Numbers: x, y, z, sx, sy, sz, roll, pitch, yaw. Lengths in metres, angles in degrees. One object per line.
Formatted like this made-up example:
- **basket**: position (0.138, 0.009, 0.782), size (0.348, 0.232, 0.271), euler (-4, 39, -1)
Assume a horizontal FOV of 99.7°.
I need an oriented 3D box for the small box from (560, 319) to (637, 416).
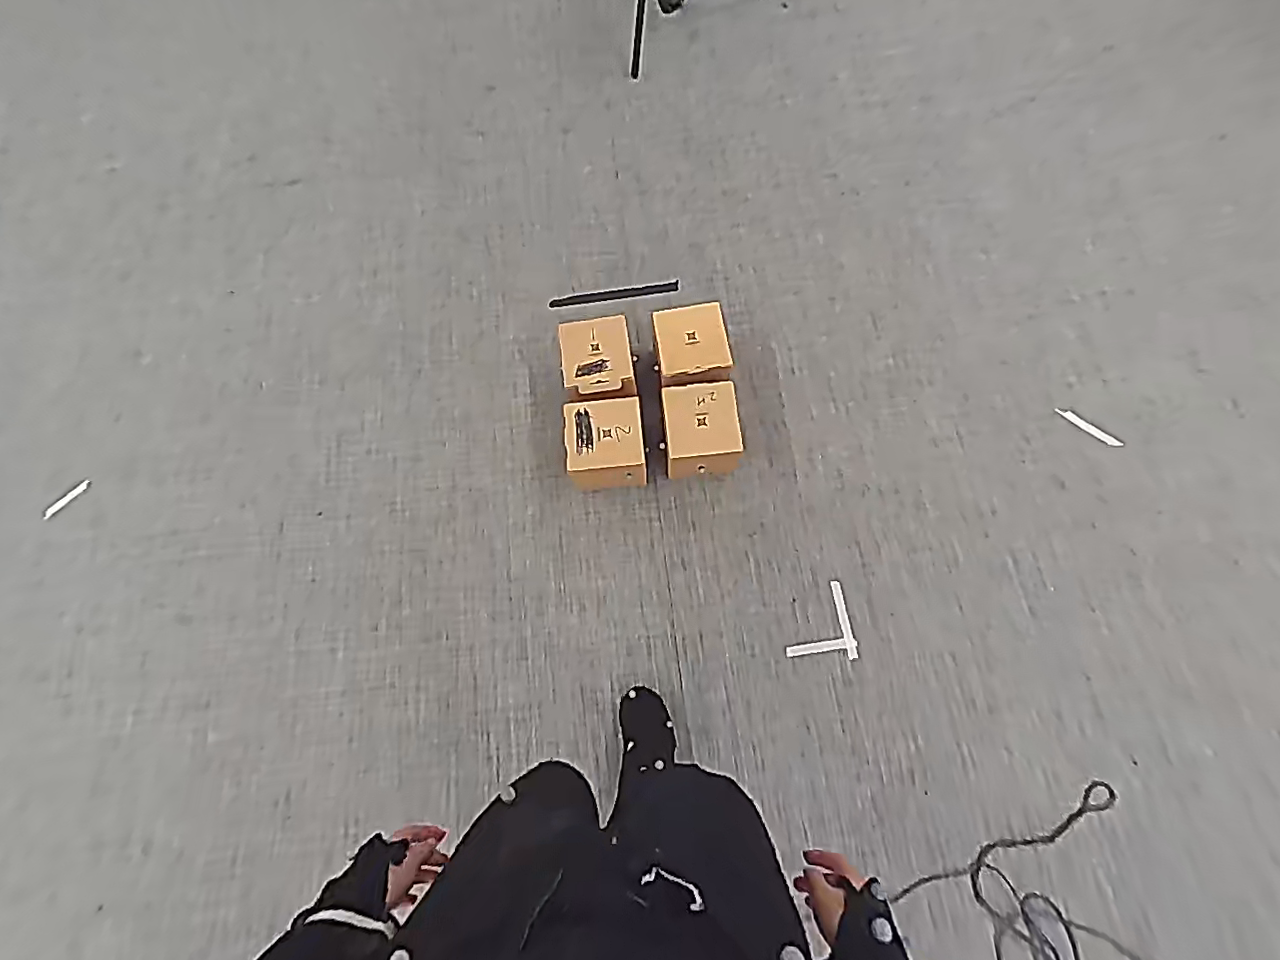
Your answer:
- **small box**: position (-0.100, -0.272, 1.353), size (0.168, 0.176, 0.179), euler (-7, 71, 0)
